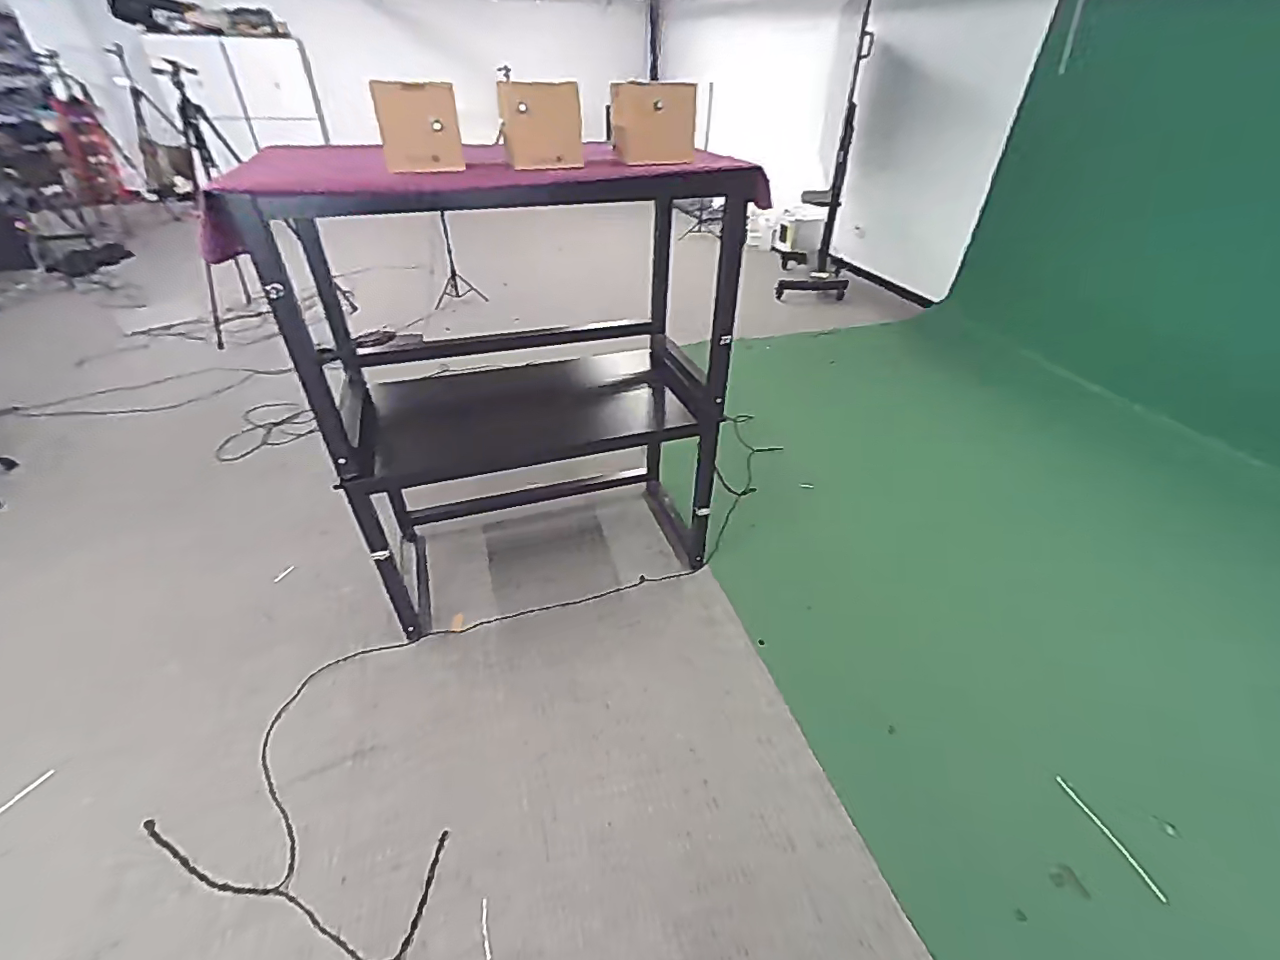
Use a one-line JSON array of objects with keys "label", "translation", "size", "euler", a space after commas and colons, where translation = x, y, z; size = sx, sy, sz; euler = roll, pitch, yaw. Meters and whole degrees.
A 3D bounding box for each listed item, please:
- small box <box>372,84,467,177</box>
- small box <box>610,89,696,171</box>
[{"label": "small box", "translation": [-0.492, -0.793, 1.227], "size": [0.168, 0.176, 0.179], "euler": [-9, 37, -15]}, {"label": "small box", "translation": [0.030, -0.892, 1.377], "size": [0.179, 0.176, 0.168], "euler": [-10, 38, -15]}]
